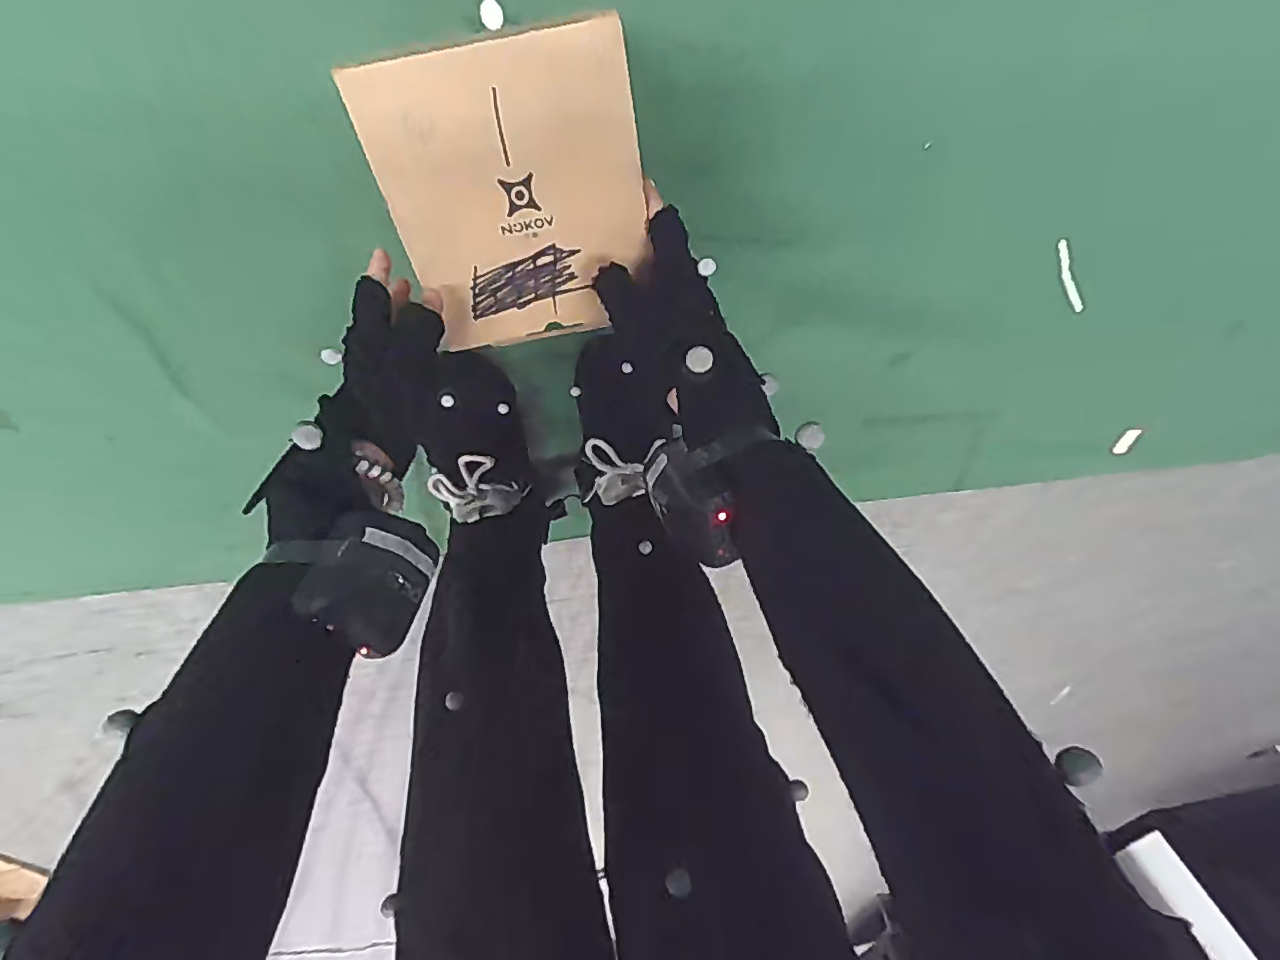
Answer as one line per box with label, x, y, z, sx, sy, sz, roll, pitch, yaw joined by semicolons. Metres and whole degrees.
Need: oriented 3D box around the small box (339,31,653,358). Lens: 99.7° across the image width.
small box;-0.091;-0.224;0.421;0.168;0.176;0.179;-12;131;-2
